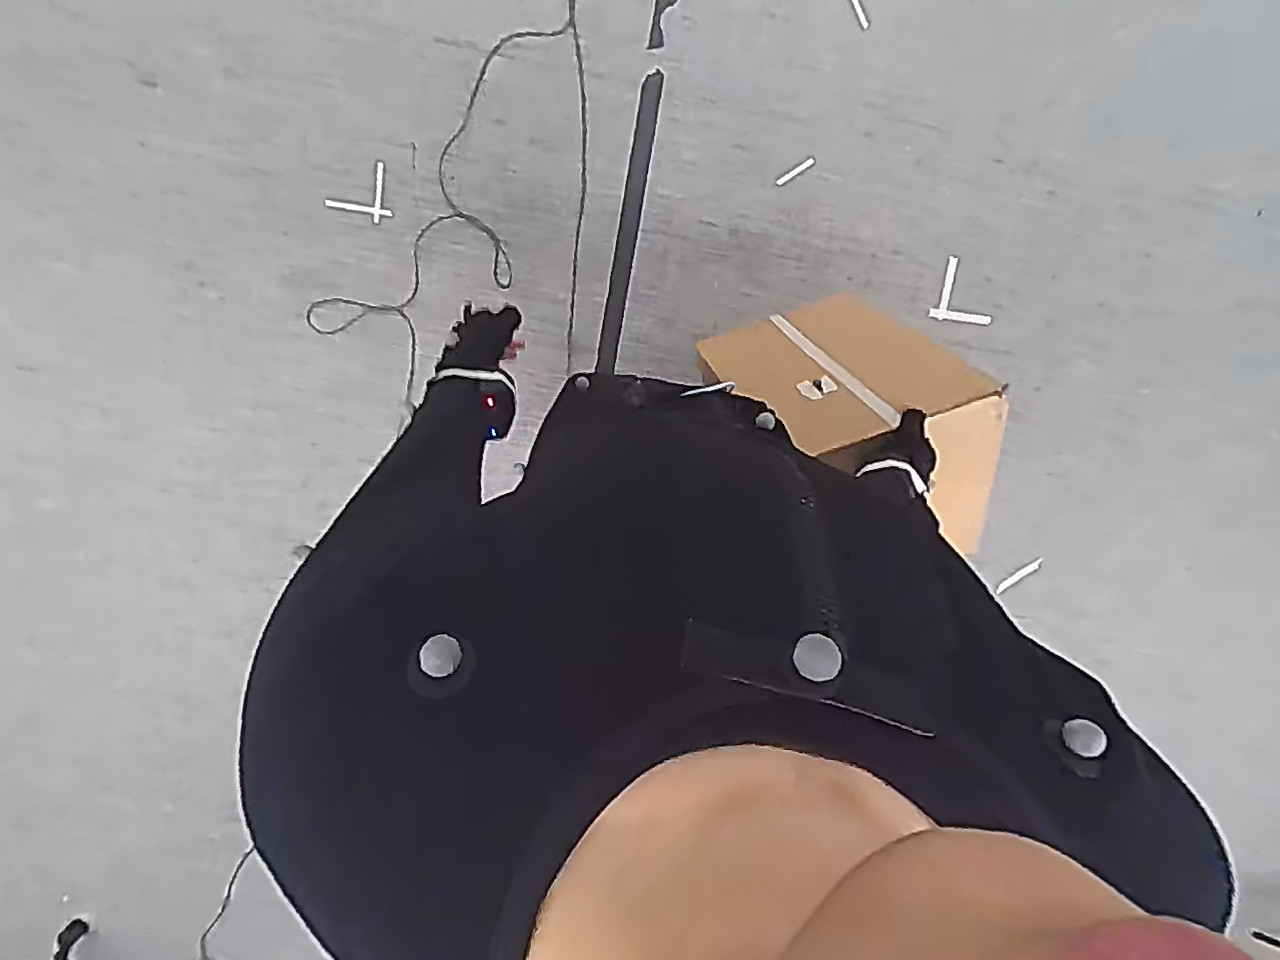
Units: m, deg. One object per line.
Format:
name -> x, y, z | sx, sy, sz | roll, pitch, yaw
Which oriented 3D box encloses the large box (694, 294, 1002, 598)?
large box -> 0.324, -0.075, 0.954 | 0.320, 0.408, 0.320 | -20, 130, -1
